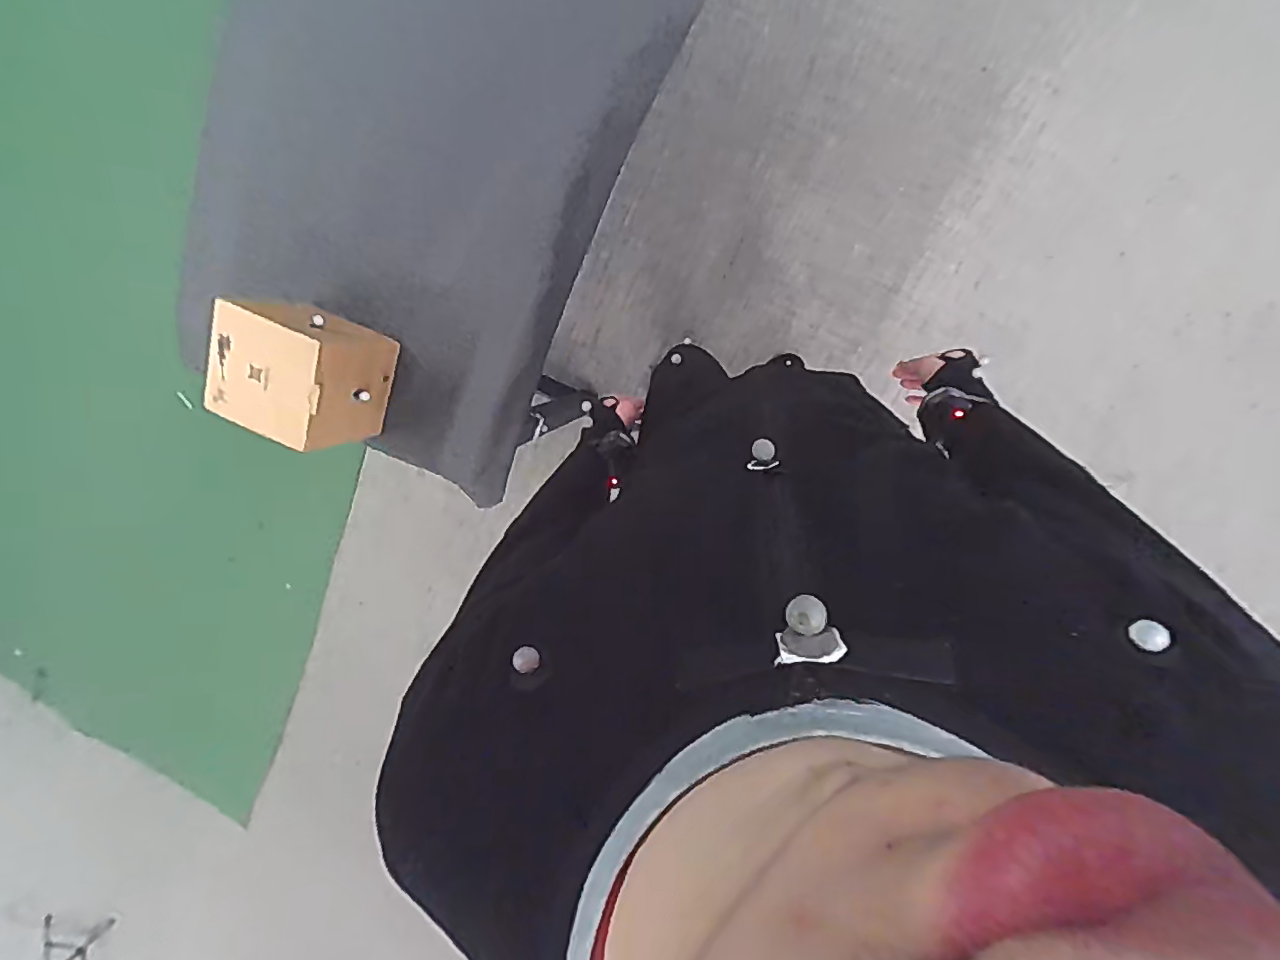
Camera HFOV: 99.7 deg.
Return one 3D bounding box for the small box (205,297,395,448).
[{"bbox_3d":[-0.514,-0.170,0.835,0.179,0.176,0.168,23,108,4],"label":"small box"}]
